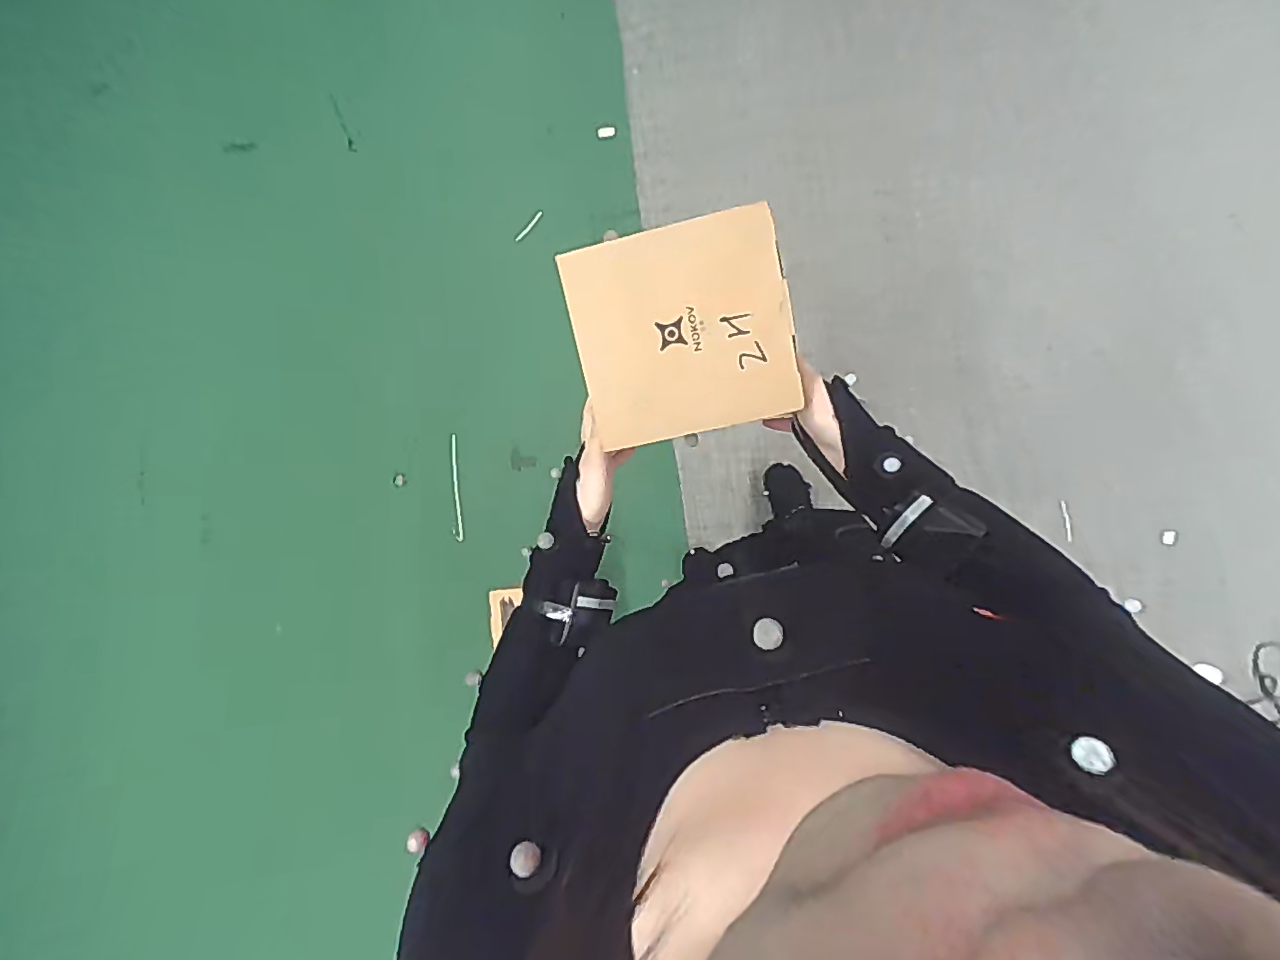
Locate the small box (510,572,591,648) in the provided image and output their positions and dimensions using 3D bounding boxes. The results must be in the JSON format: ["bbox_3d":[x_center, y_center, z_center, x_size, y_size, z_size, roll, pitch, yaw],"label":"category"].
[{"bbox_3d":[-0.233,0.345,1.458,0.179,0.176,0.168,-7,85,6],"label":"small box"}]

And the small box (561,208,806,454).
[{"bbox_3d":[0.043,-0.130,0.514,0.179,0.176,0.168,-11,101,7],"label":"small box"}]
